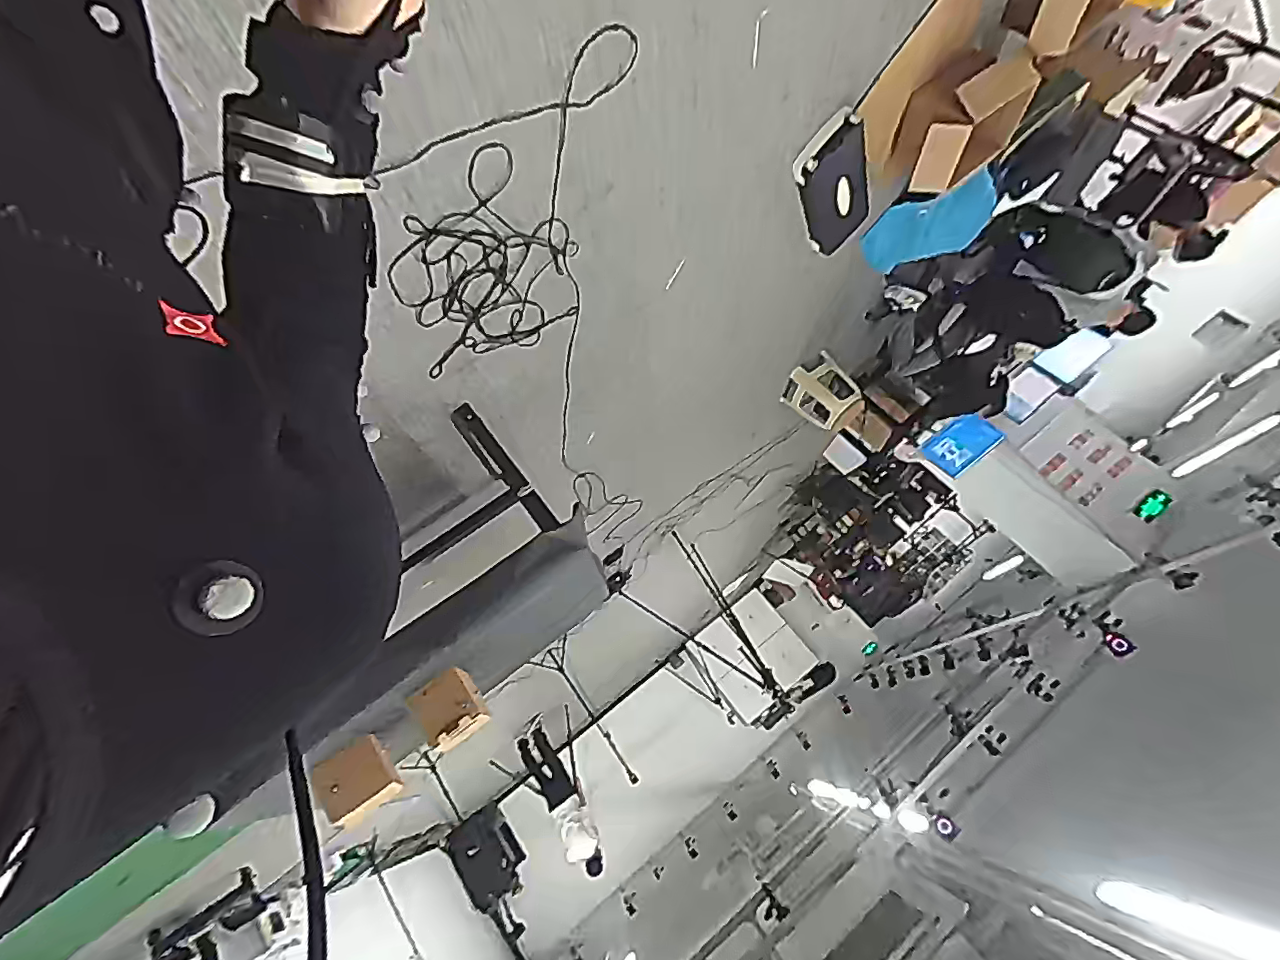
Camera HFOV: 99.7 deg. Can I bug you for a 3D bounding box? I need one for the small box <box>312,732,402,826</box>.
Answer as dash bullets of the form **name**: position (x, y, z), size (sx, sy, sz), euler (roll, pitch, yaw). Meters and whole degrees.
- **small box**: position (-0.842, 0.886, 1.602), size (0.179, 0.176, 0.168), euler (-31, 157, -26)
